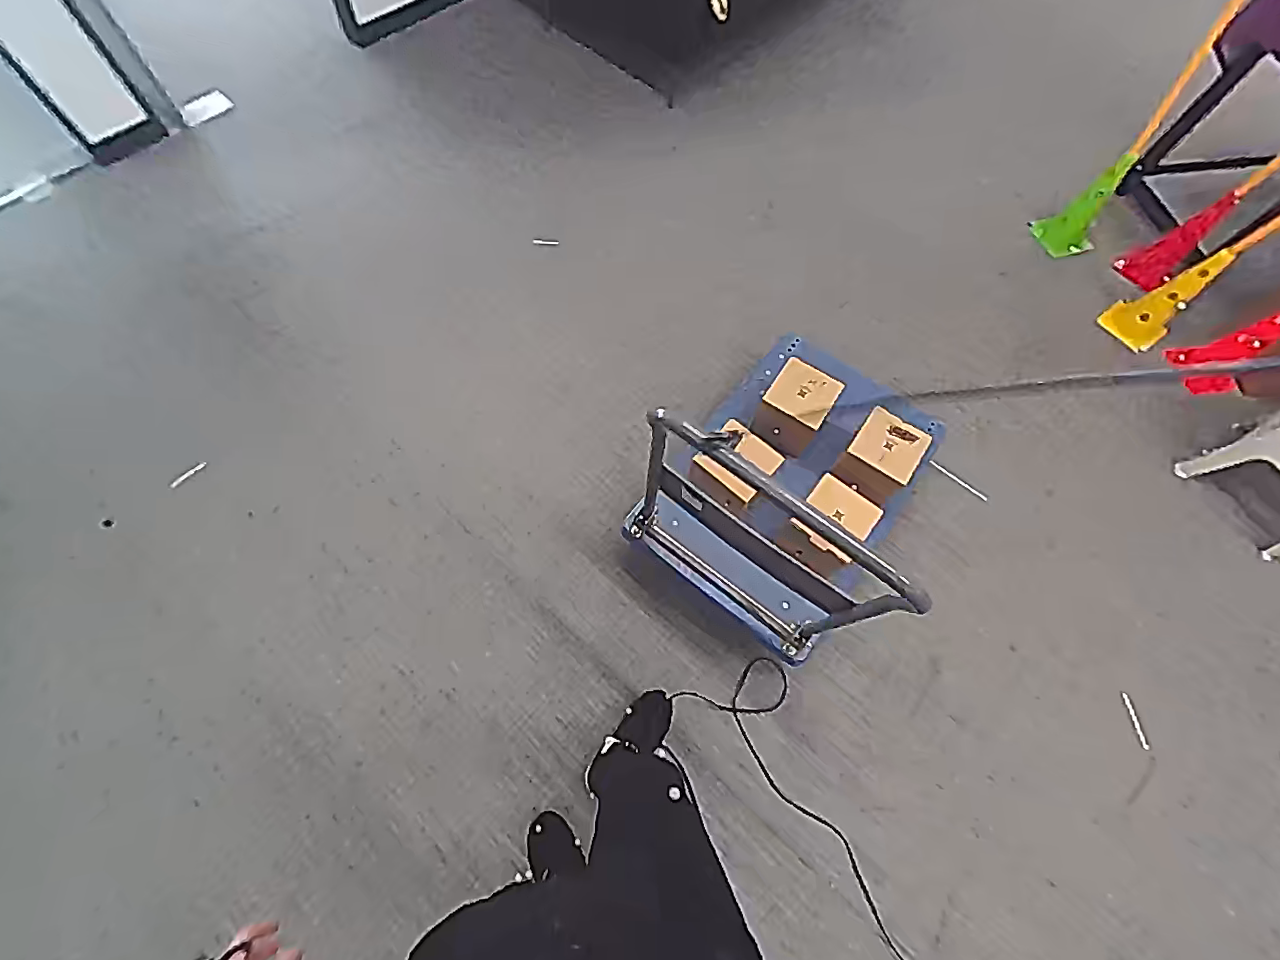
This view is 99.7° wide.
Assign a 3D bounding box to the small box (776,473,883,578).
[{"bbox_3d":[0.472,0.120,1.372,0.168,0.176,0.179,37,70,13],"label":"small box"}]

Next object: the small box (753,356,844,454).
[{"bbox_3d":[0.433,-0.203,1.514,0.168,0.176,0.179,33,68,11],"label":"small box"}]

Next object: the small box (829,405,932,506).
[{"bbox_3d":[0.641,-0.061,1.461,0.168,0.176,0.179,34,69,13],"label":"small box"}]
